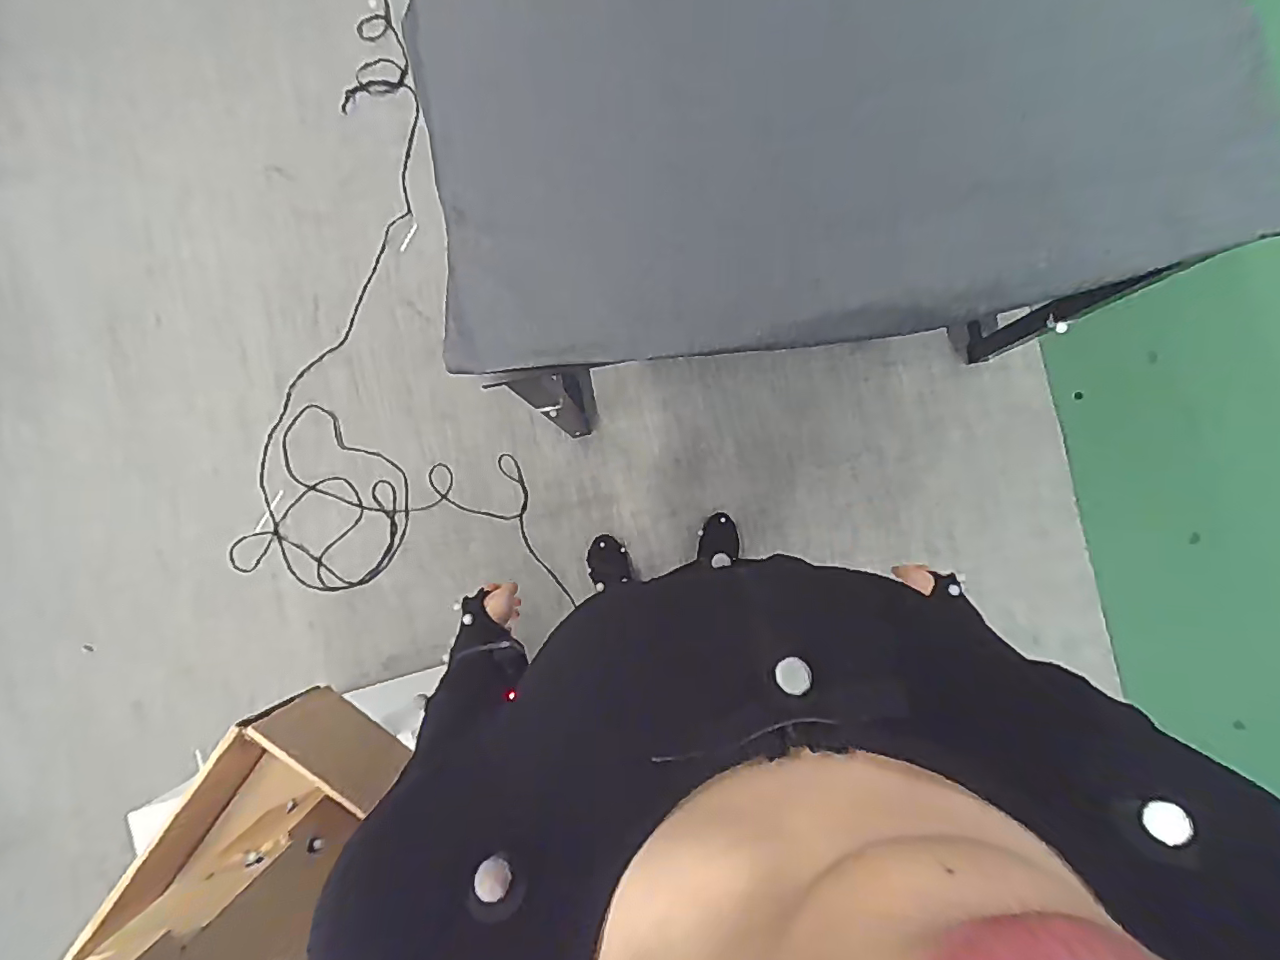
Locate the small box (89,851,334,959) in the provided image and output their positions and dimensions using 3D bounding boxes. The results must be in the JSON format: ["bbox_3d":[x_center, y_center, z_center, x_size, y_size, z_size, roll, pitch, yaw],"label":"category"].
[{"bbox_3d":[-0.491,0.563,0.610,0.168,0.176,0.179,-20,90,2],"label":"small box"}]
